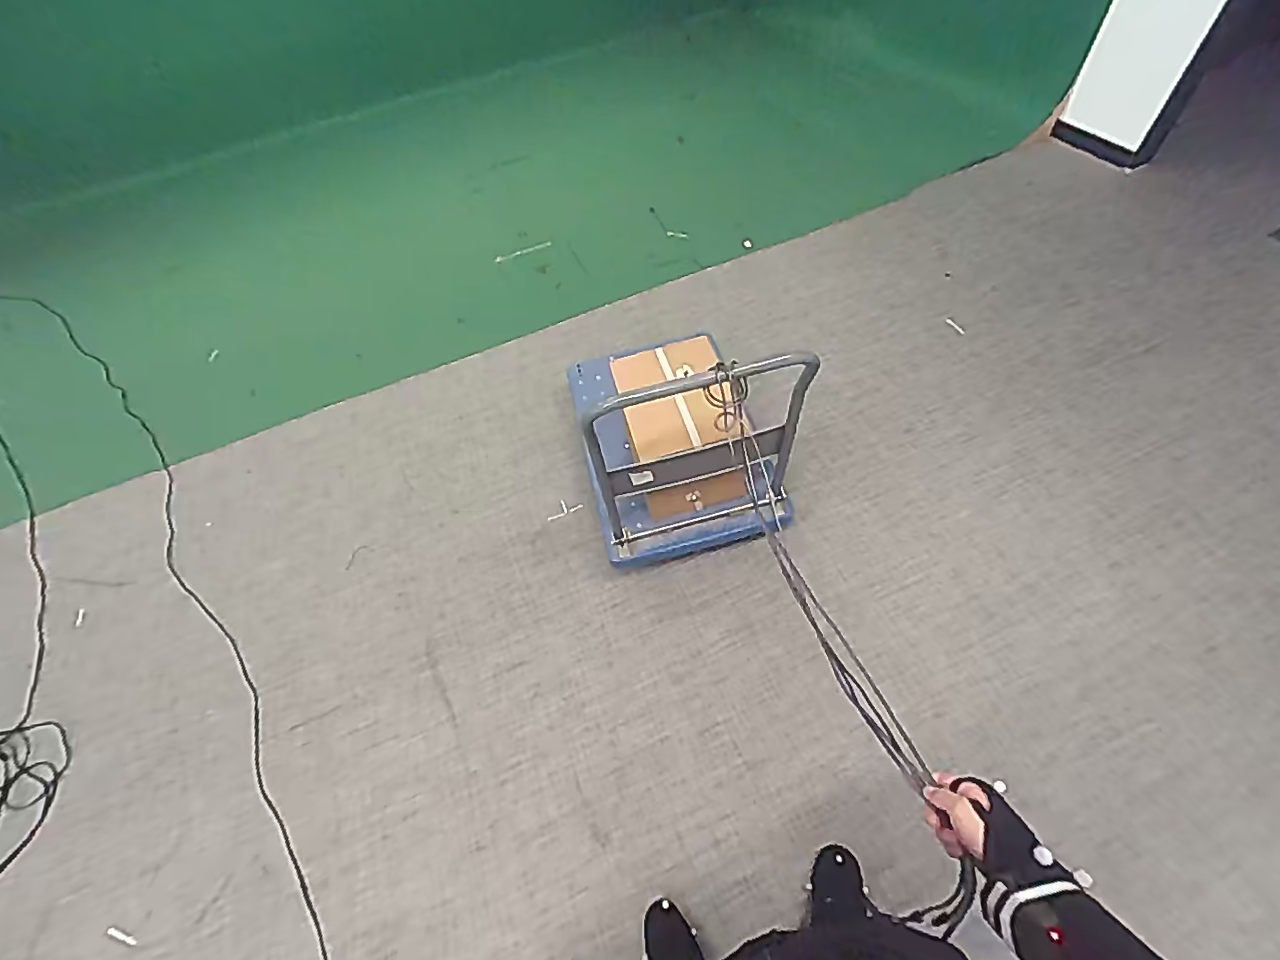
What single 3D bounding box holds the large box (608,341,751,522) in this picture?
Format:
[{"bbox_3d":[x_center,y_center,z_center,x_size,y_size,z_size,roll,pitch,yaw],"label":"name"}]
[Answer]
[{"bbox_3d":[0.120,-0.145,1.644,0.320,0.320,0.408,-15,54,-3],"label":"large box"}]
